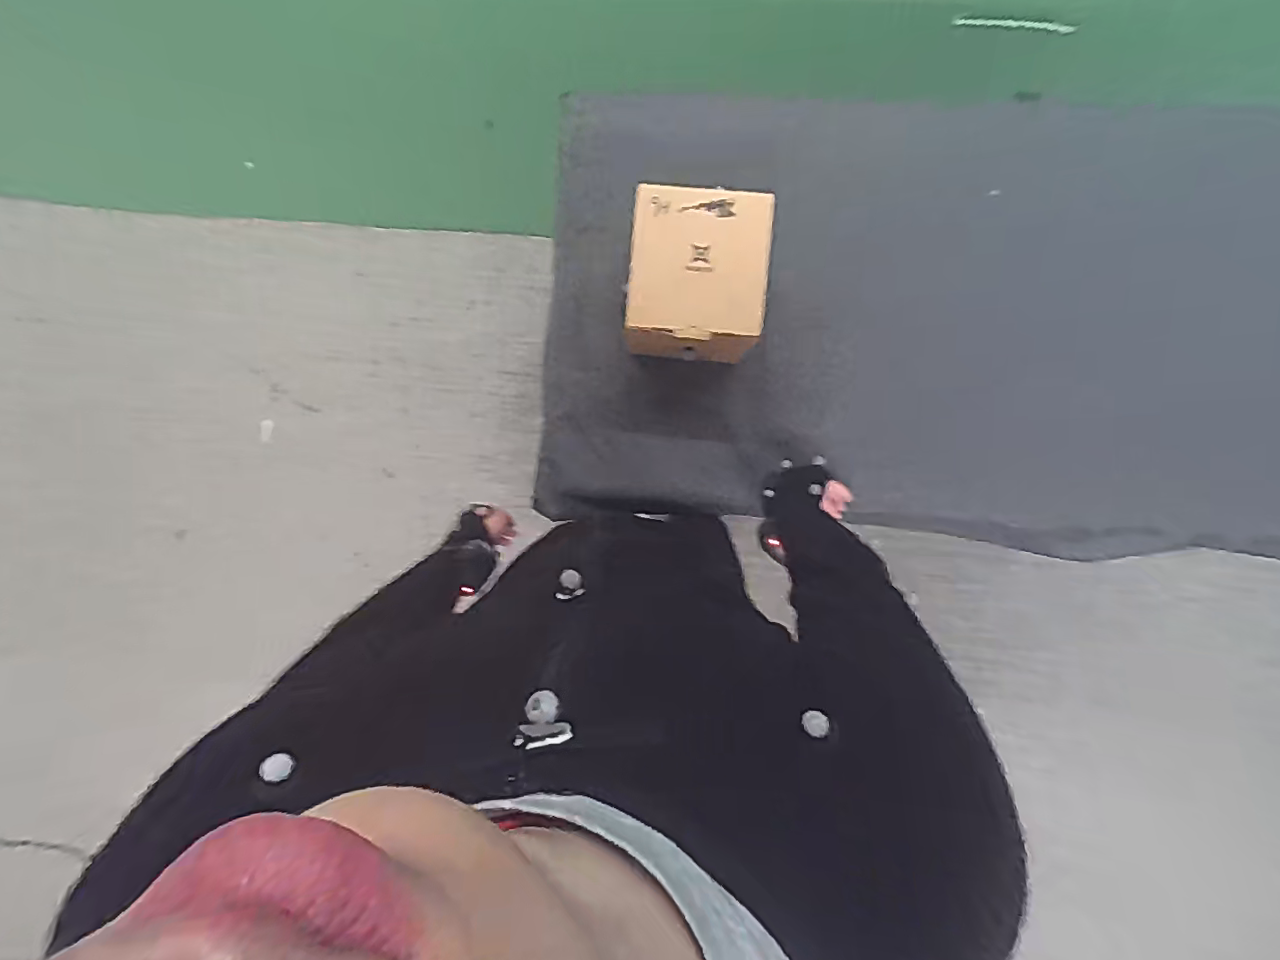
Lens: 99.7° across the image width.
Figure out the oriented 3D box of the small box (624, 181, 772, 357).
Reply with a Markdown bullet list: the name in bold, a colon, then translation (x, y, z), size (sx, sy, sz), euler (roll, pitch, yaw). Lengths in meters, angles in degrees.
- **small box**: translation (0.072, -0.271, 0.734), size (0.168, 0.176, 0.179), euler (6, 93, 0)
